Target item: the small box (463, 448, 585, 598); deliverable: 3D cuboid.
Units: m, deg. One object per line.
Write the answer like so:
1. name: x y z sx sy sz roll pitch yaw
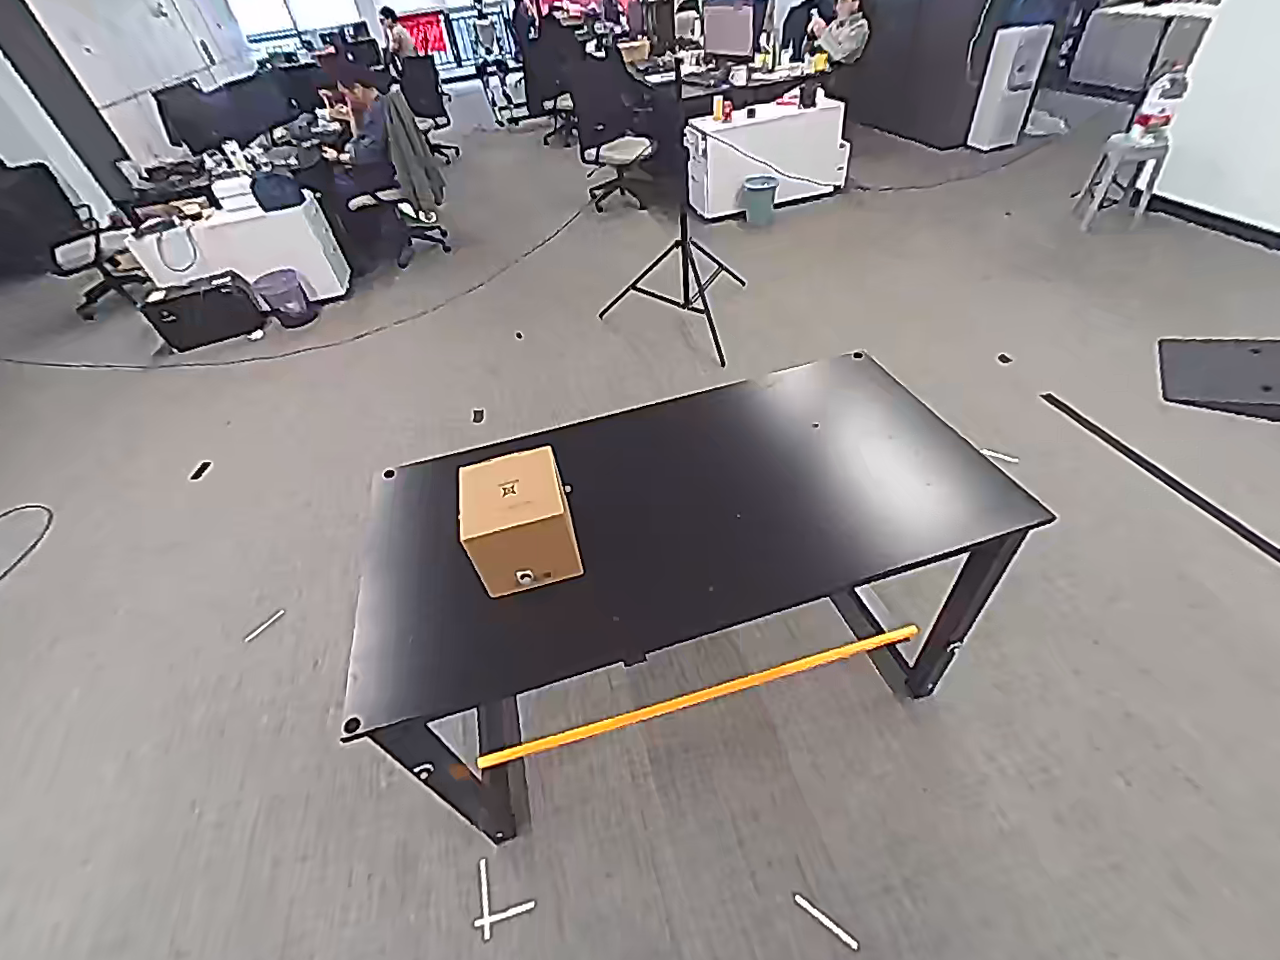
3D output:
1. small box: -0.204 0.075 0.952 0.168 0.176 0.179 -16 45 -6
